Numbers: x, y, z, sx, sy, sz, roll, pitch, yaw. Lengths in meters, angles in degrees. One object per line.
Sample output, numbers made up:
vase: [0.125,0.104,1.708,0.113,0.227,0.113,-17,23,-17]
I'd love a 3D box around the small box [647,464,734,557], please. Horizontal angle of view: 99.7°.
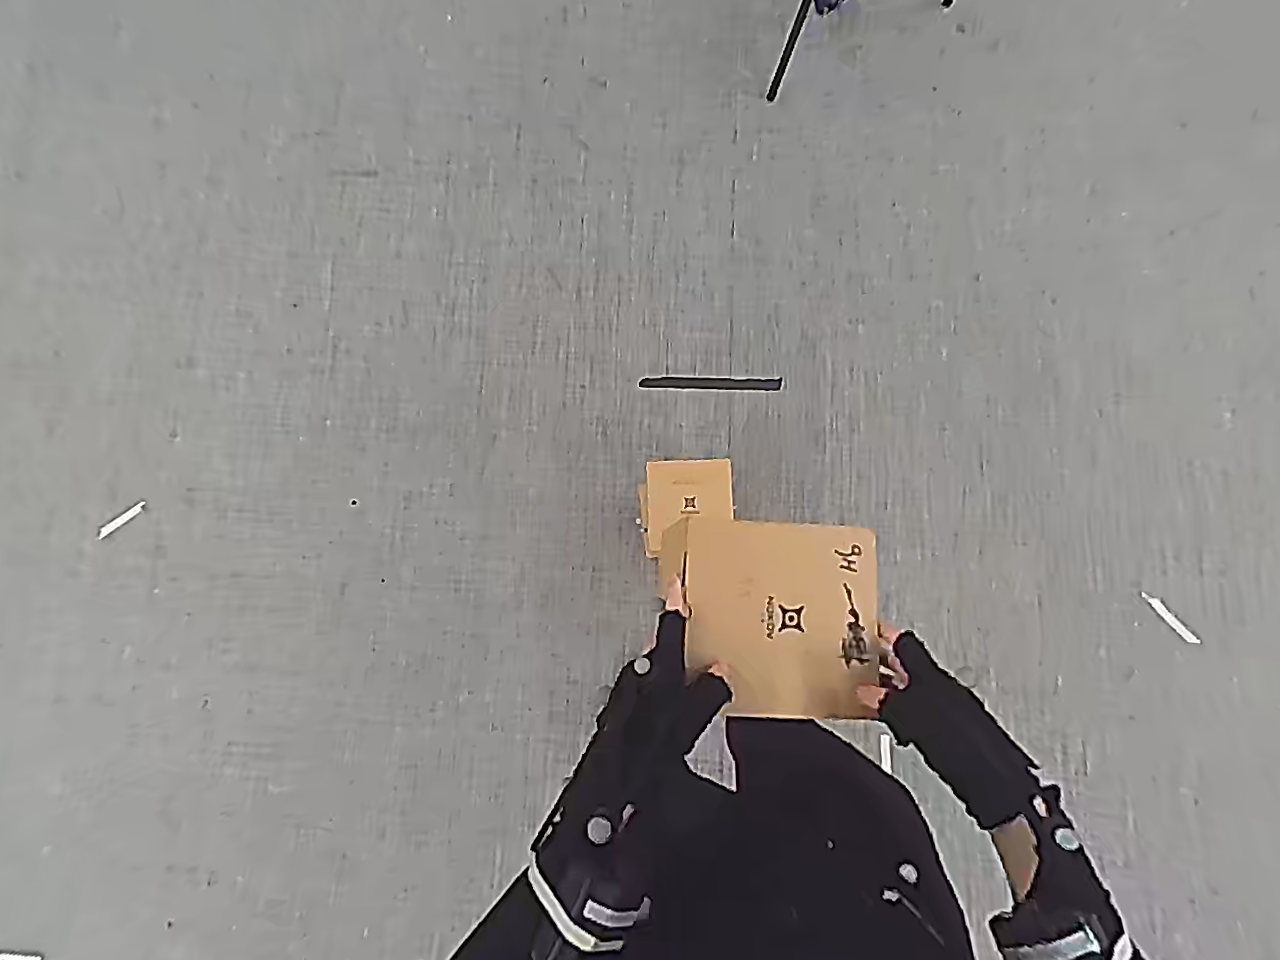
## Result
small box: [0.098,0.067,1.105,0.168,0.176,0.179,-2,81,-1]

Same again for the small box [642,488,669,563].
small box: [0.097,0.102,1.265,0.179,0.176,0.168,-6,82,1]

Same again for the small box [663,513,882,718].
small box: [0.118,0.131,0.545,0.179,0.176,0.168,4,79,-3]
